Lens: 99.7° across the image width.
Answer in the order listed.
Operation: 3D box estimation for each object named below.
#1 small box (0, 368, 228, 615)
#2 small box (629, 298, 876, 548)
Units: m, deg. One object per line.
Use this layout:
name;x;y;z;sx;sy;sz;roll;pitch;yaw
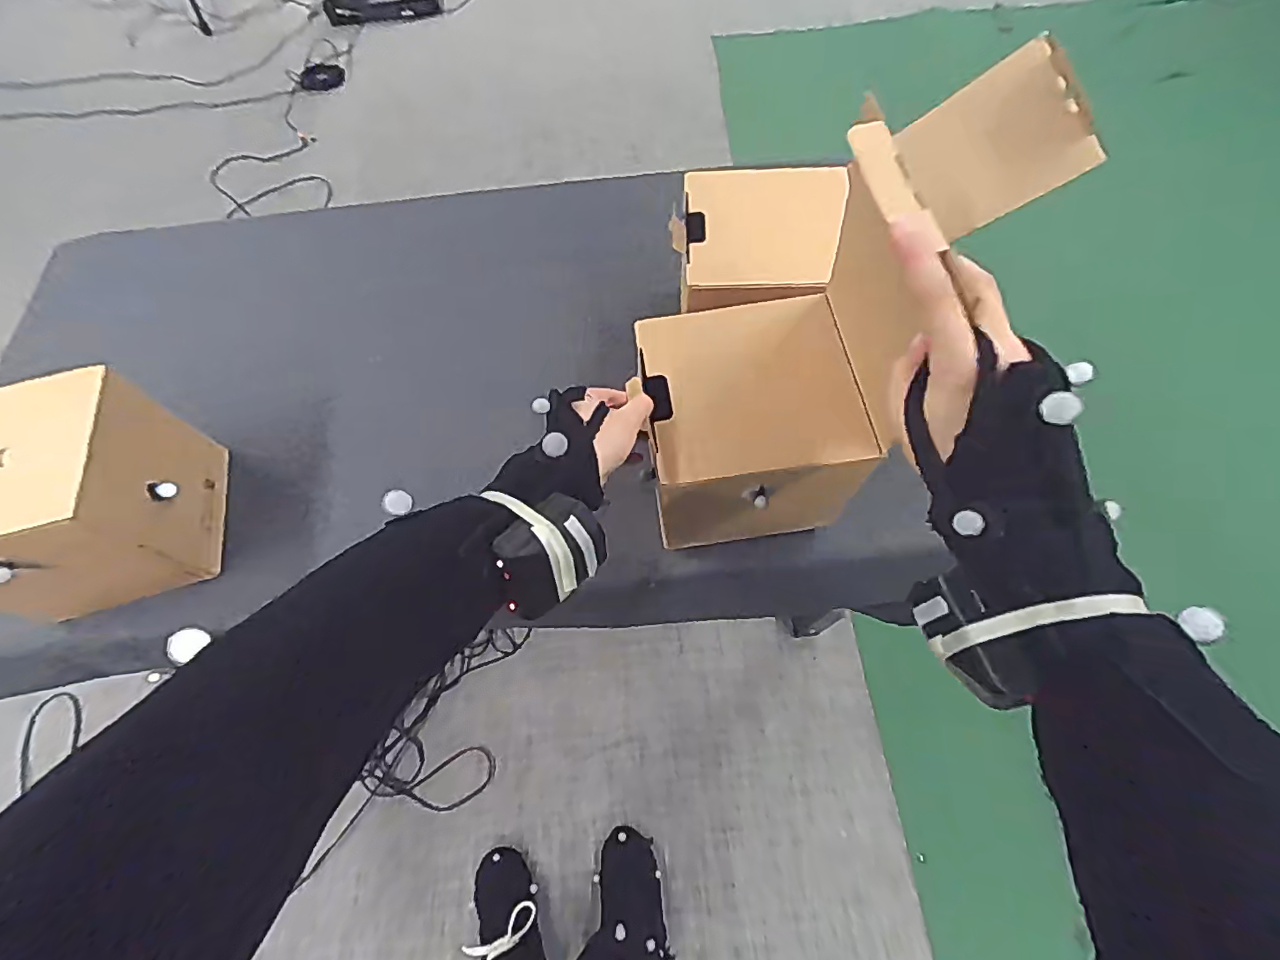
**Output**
small box;-0.558;0.020;0.541;0.179;0.176;0.168;-16;64;-4
small box;0.091;-0.043;0.515;0.179;0.176;0.168;-8;66;0
